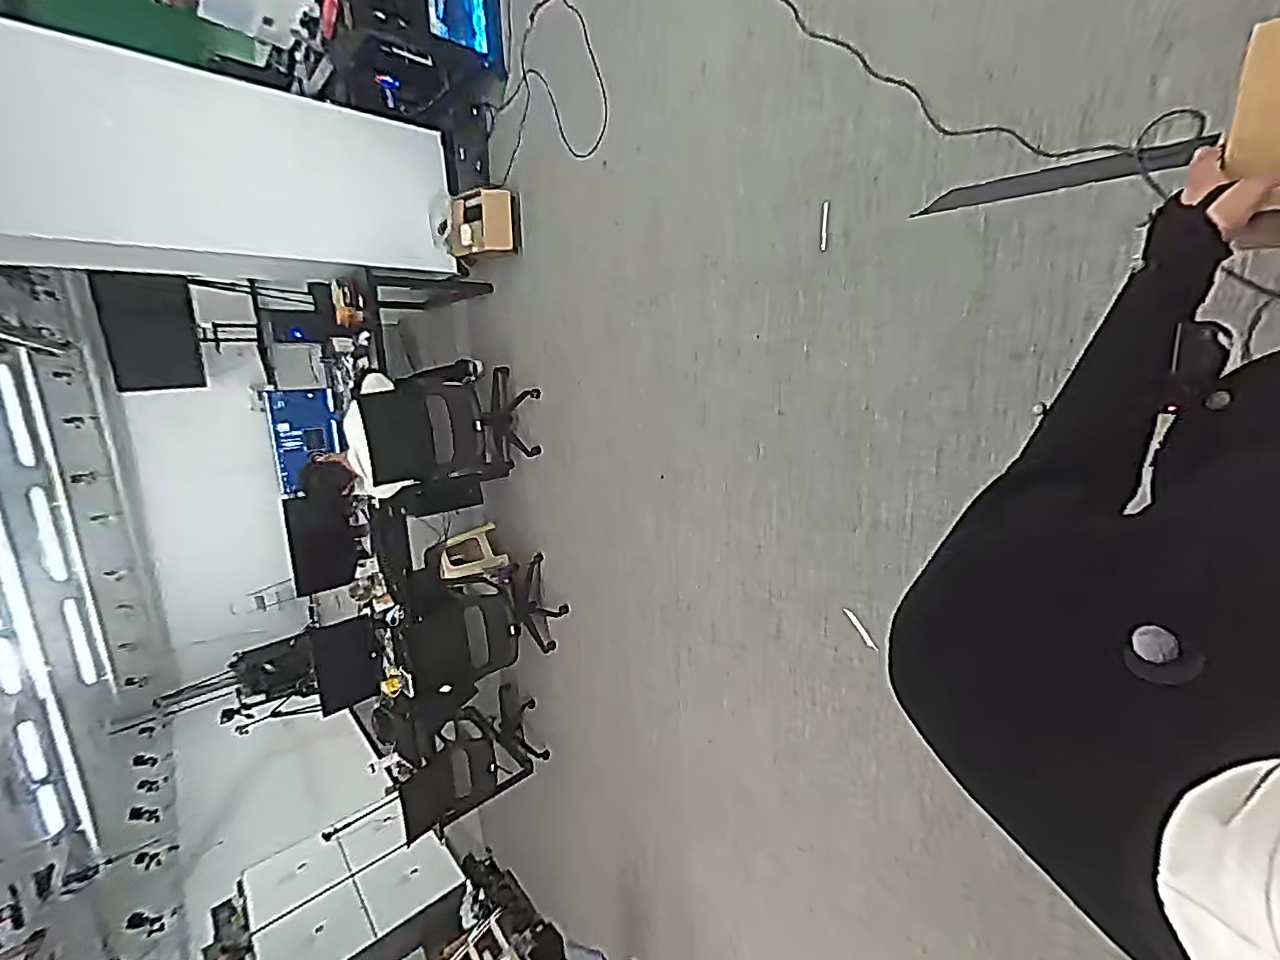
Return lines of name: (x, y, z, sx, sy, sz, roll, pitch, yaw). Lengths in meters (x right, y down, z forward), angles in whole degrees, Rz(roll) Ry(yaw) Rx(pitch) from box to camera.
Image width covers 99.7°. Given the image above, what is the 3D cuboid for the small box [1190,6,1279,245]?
small box: (0.659, -0.329, 0.502, 0.179, 0.176, 0.168, 12, 103, 40)
